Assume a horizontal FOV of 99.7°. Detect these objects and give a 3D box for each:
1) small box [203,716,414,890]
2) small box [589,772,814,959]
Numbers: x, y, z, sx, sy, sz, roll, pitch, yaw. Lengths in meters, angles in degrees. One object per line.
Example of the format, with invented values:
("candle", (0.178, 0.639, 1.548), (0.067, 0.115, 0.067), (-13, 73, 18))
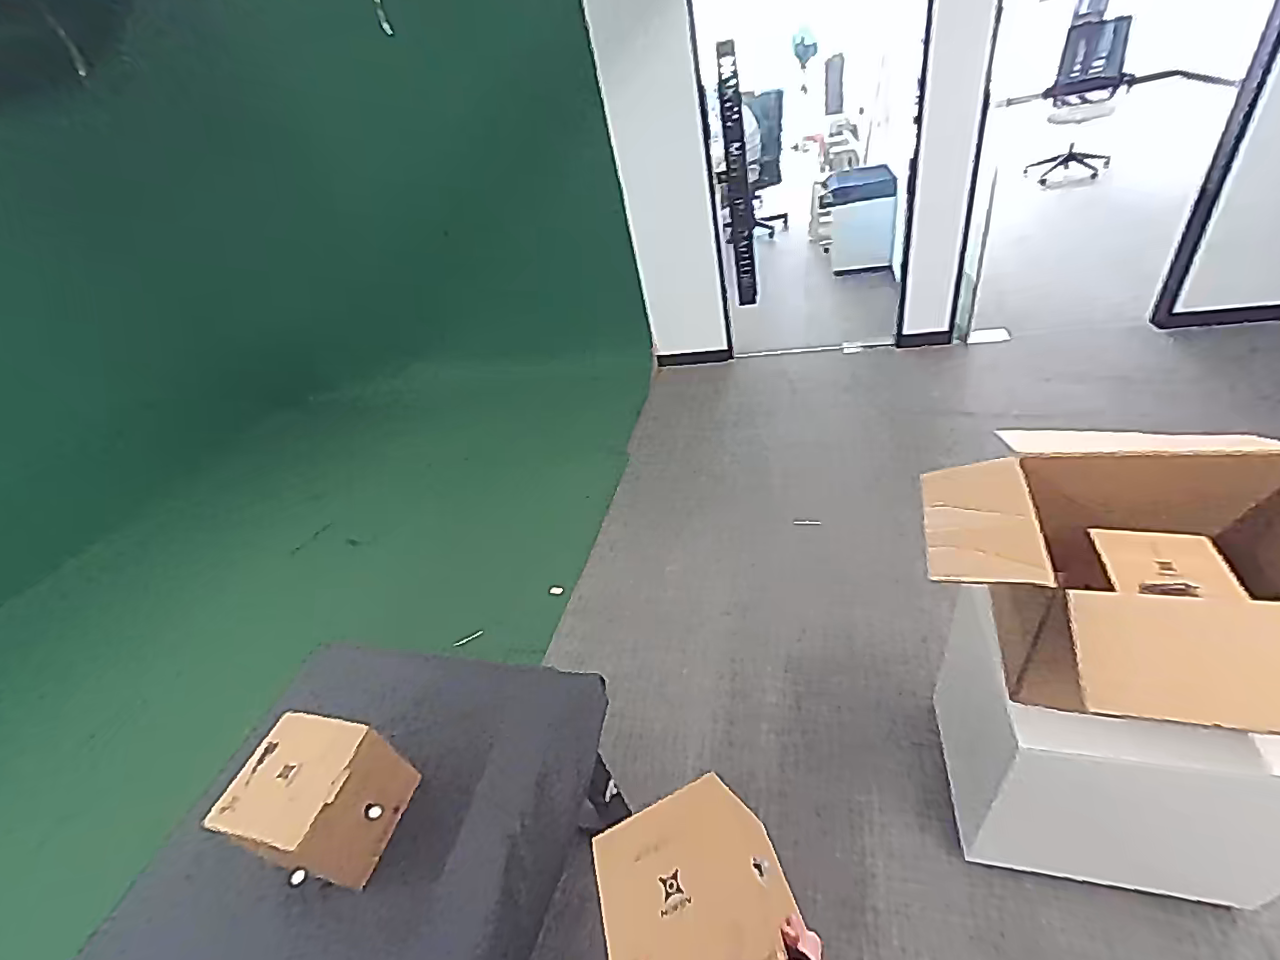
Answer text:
("small box", (-0.481, 0.488, 0.818), (0.179, 0.176, 0.168), (1, 40, 18))
("small box", (0.067, 0.468, 0.586), (0.168, 0.176, 0.179), (-31, 31, 3))
